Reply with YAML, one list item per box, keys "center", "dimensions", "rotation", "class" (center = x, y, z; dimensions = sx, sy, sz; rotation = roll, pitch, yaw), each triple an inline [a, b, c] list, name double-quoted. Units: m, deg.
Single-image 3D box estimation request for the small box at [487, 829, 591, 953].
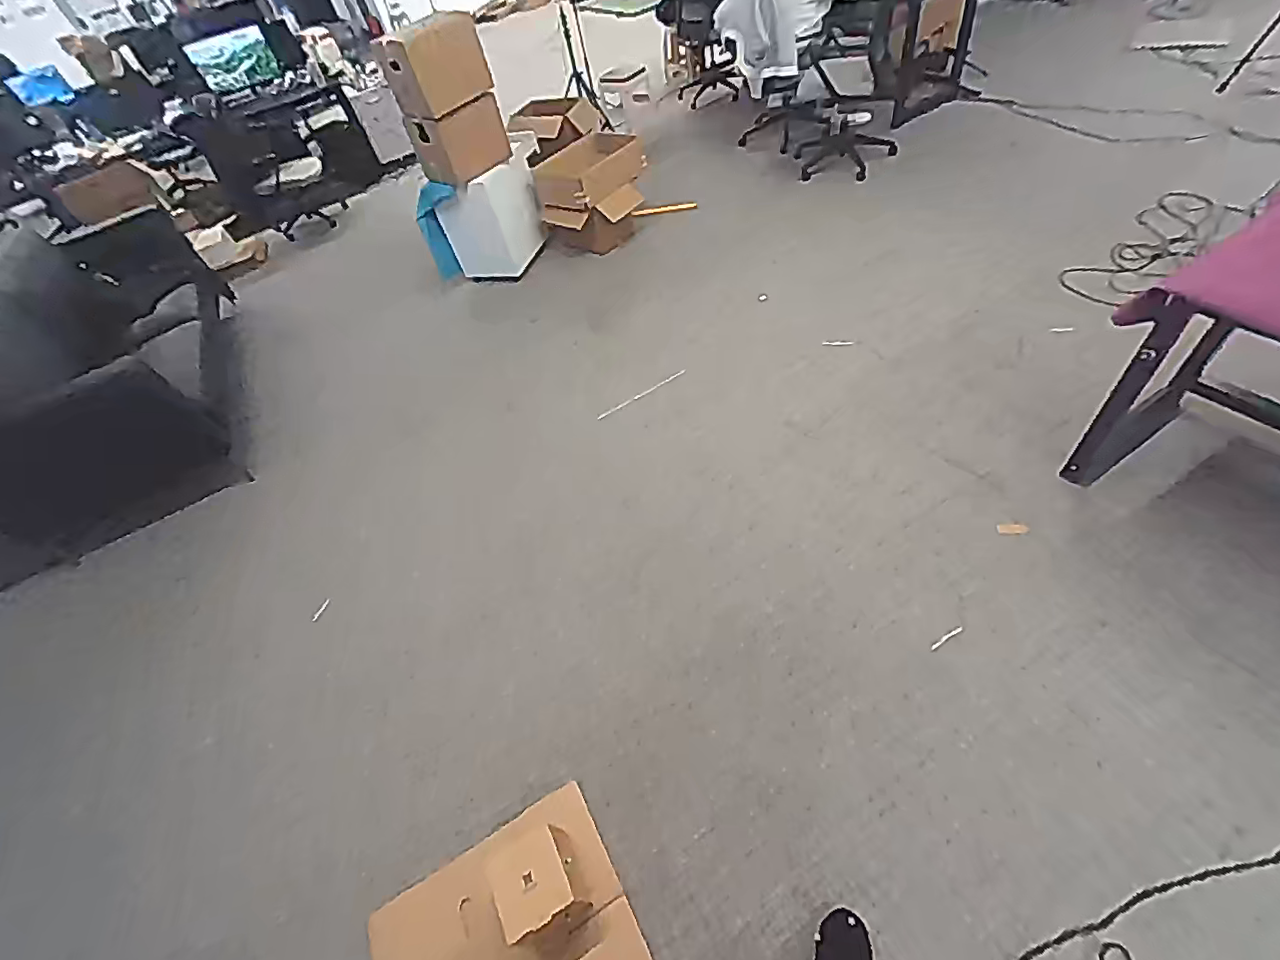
- center: [-0.235, 0.969, 1.282]
  dimensions: [0.168, 0.176, 0.179]
  rotation: [-28, 50, -11]
  class: "small box"
